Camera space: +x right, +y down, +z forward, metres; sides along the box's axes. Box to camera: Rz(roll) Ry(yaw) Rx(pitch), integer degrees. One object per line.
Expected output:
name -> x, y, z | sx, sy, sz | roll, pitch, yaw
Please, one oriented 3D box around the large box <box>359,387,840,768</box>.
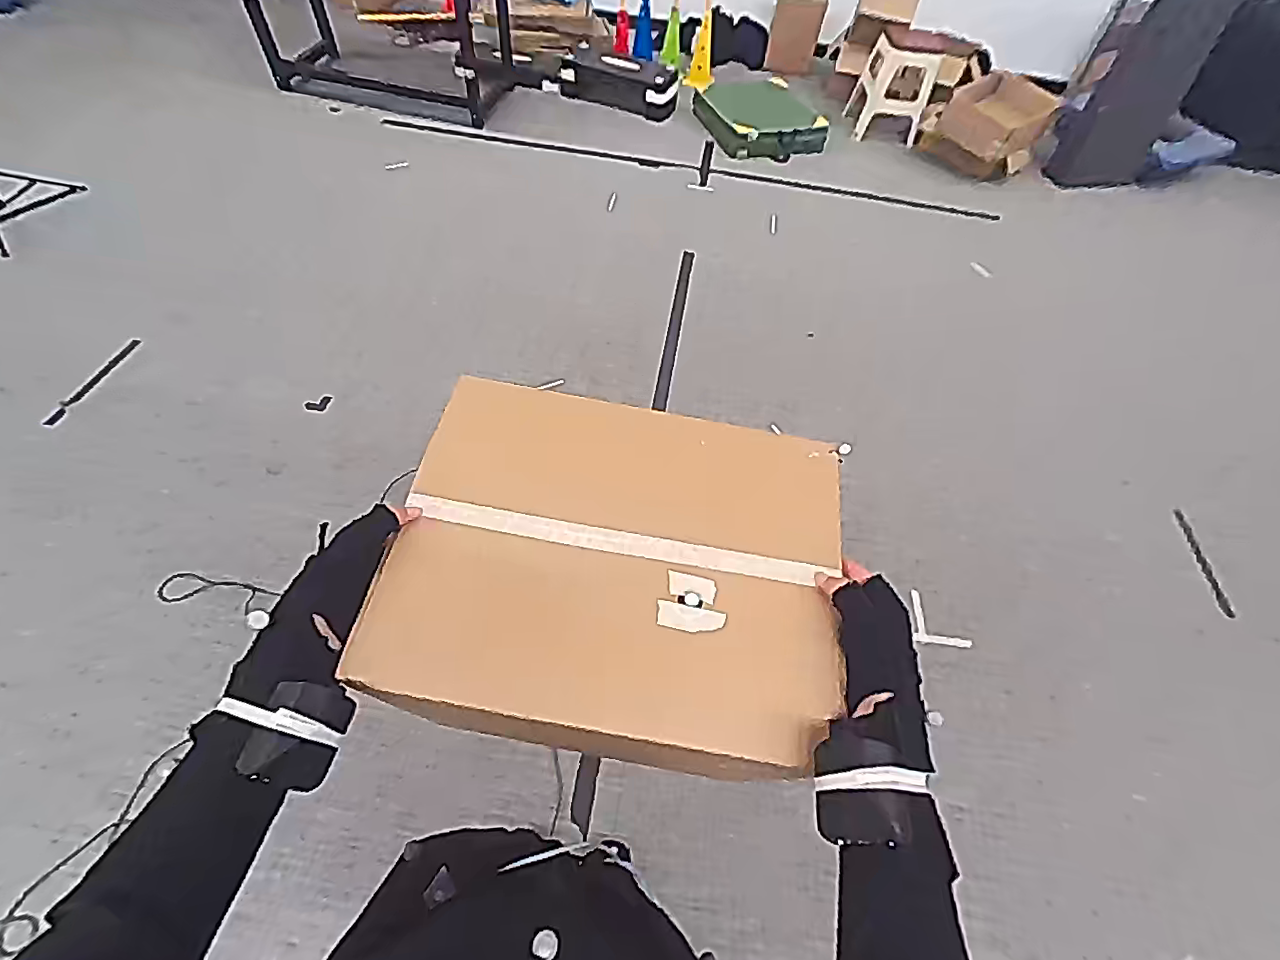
large box -> -0.028, 0.135, 0.637 | 0.408, 0.320, 0.320 | 11, 61, -1
